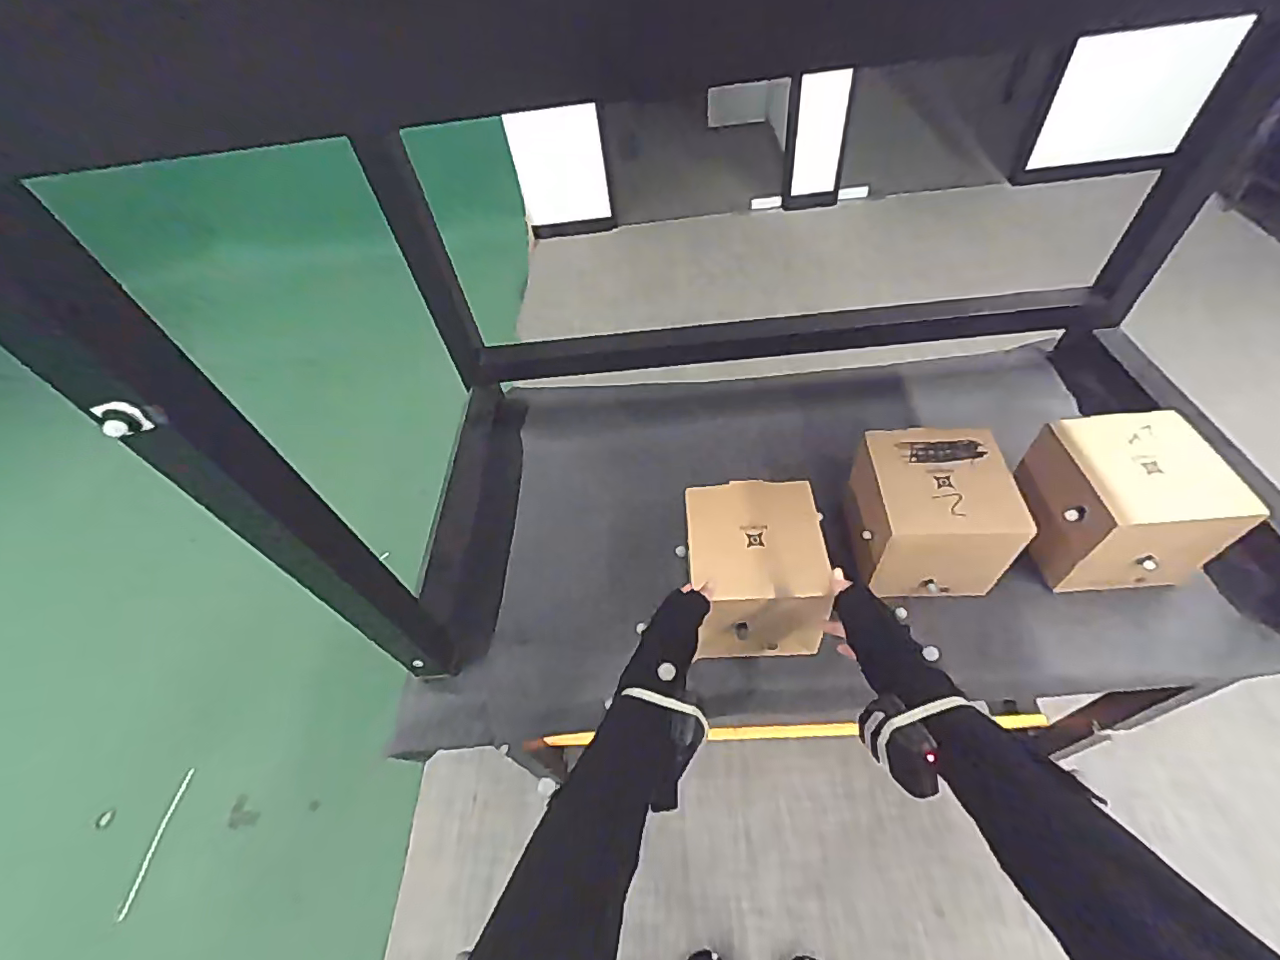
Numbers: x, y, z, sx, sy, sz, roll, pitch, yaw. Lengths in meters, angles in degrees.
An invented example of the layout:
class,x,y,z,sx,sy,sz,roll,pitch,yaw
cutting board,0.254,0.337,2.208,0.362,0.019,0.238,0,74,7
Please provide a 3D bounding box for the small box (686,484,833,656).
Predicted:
class,x,y,z,sx,sy,sz,roll,pitch,yaw
small box,0.151,0.128,0.734,0.168,0.176,0.179,-4,47,5

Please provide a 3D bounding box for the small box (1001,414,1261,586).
class,x,y,z,sx,sy,sz,roll,pitch,yaw
small box,0.641,0.035,0.739,0.168,0.176,0.179,-5,50,4
